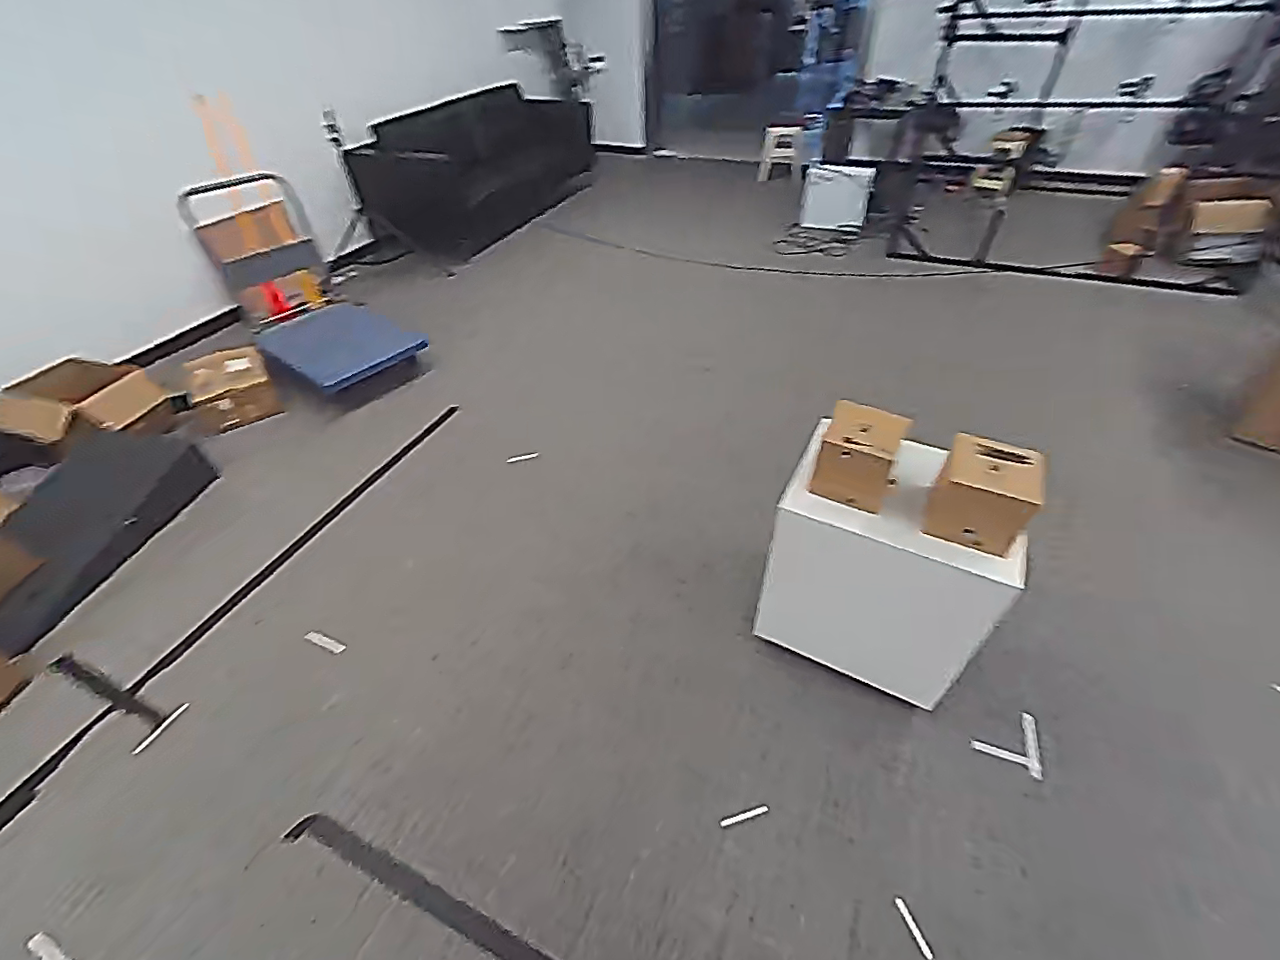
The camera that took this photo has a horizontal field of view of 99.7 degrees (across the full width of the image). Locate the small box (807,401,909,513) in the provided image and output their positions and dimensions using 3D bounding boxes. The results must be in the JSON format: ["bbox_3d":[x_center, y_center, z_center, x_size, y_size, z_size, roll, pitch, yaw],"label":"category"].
[{"bbox_3d":[0.509,-0.055,1.275,0.168,0.176,0.179,21,47,22],"label":"small box"}]
